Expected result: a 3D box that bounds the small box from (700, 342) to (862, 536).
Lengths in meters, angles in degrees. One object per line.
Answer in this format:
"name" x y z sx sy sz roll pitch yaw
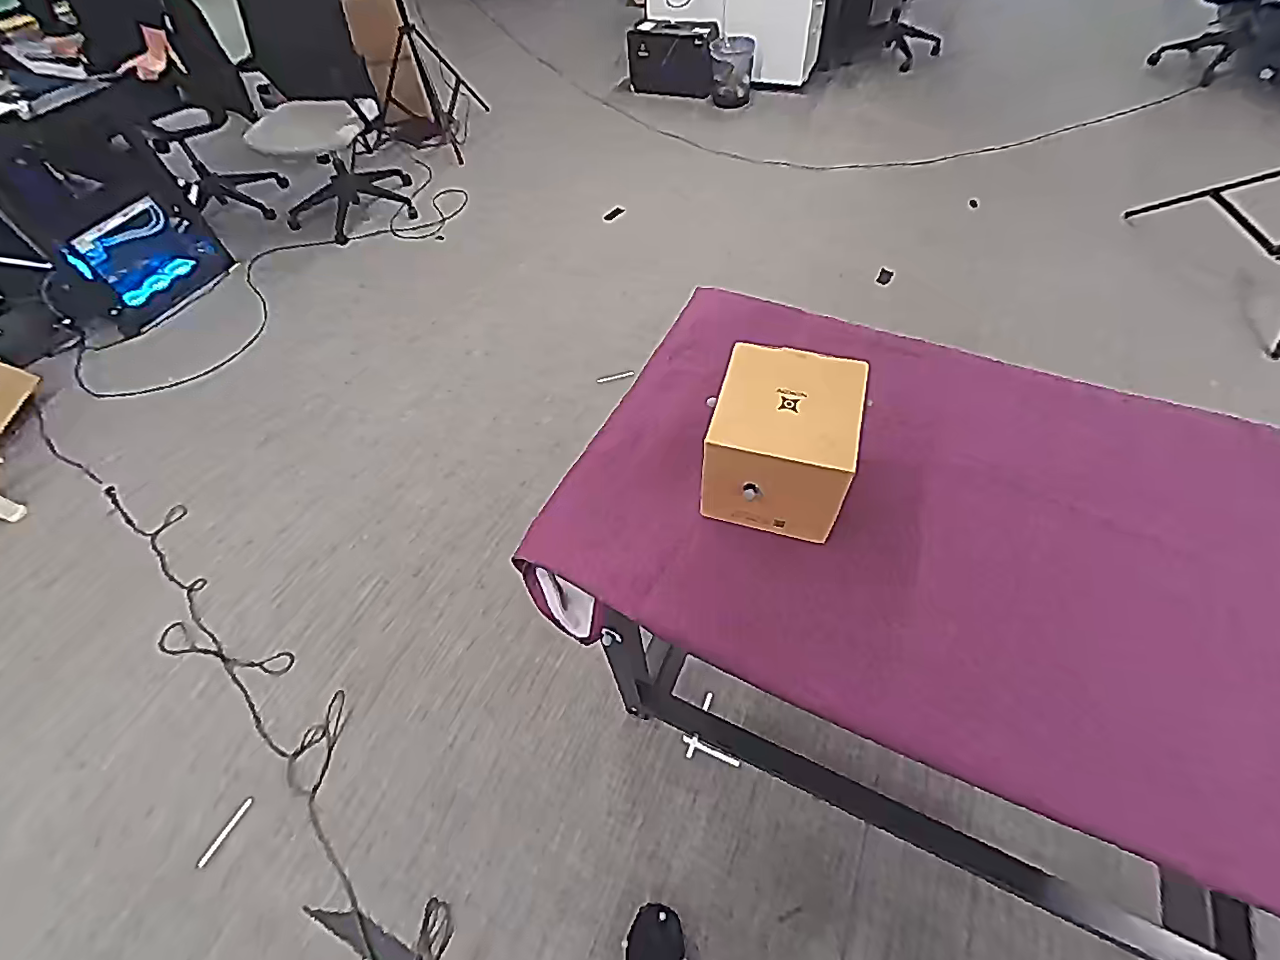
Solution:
"small box" 0.178 -0.050 0.704 0.168 0.176 0.179 12 56 13
